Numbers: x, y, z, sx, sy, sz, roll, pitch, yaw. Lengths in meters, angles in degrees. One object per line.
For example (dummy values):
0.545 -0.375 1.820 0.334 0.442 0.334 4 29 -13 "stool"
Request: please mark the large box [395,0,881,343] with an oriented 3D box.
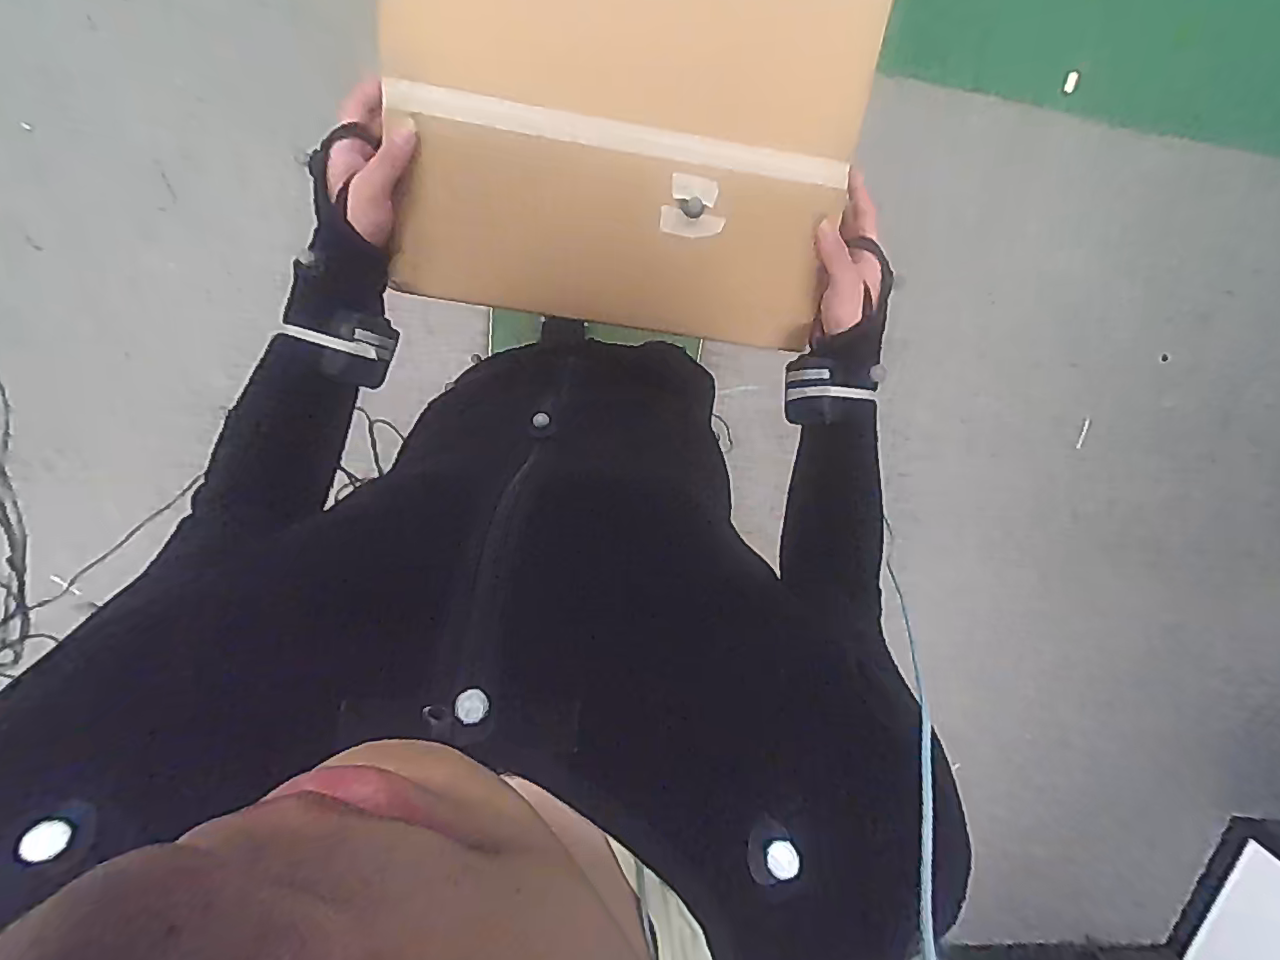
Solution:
-0.022 -0.352 0.619 0.408 0.320 0.320 7 111 -6 "large box"
